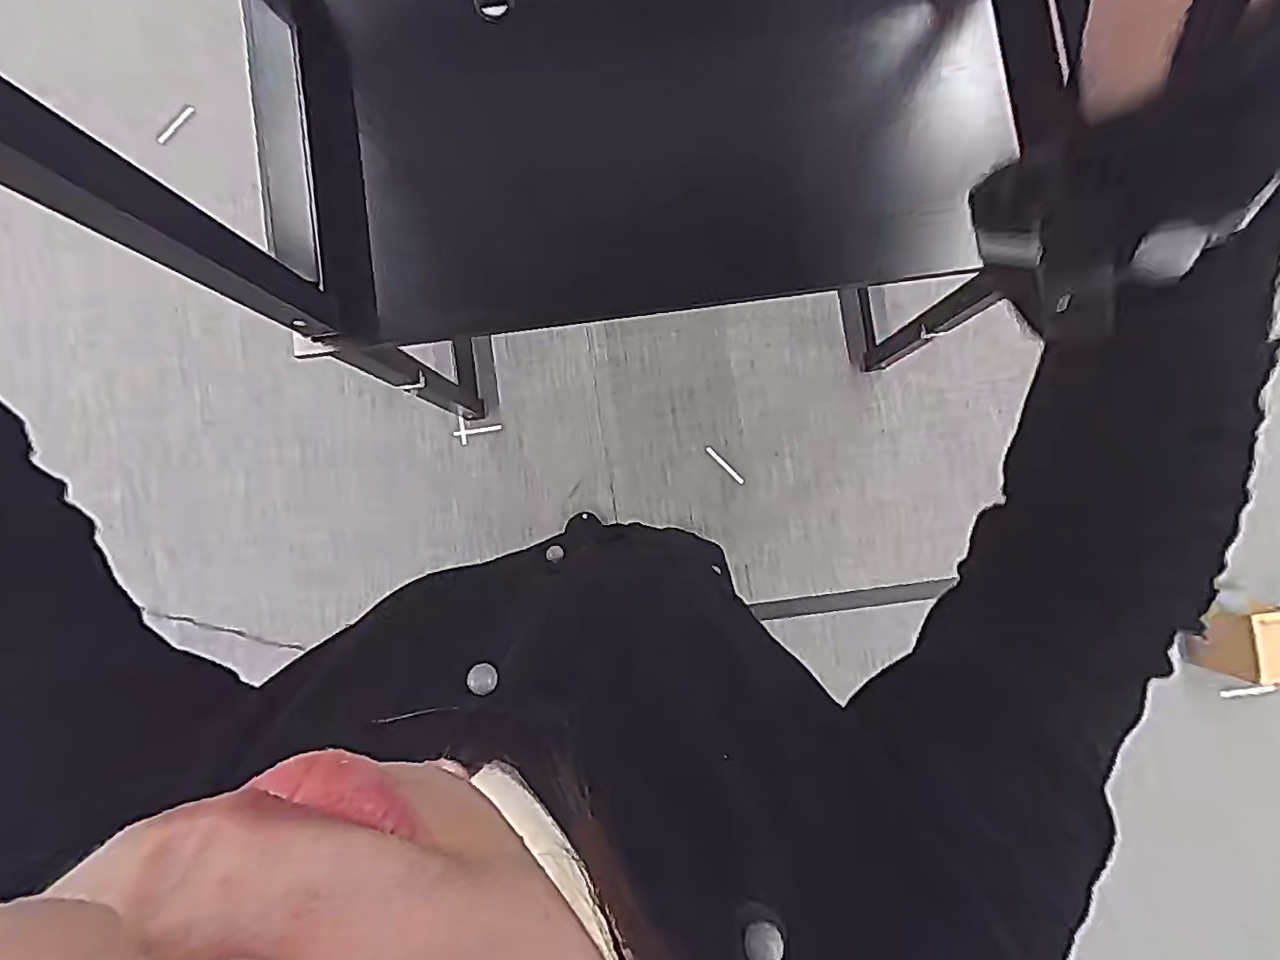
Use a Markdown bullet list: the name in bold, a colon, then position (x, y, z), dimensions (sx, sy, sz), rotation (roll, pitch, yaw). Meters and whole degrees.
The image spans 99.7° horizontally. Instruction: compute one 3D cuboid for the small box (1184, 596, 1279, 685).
- **small box**: position (1.577, 0.410, 1.400), dimensions (0.168, 0.176, 0.179), rotation (-6, 89, 0)
